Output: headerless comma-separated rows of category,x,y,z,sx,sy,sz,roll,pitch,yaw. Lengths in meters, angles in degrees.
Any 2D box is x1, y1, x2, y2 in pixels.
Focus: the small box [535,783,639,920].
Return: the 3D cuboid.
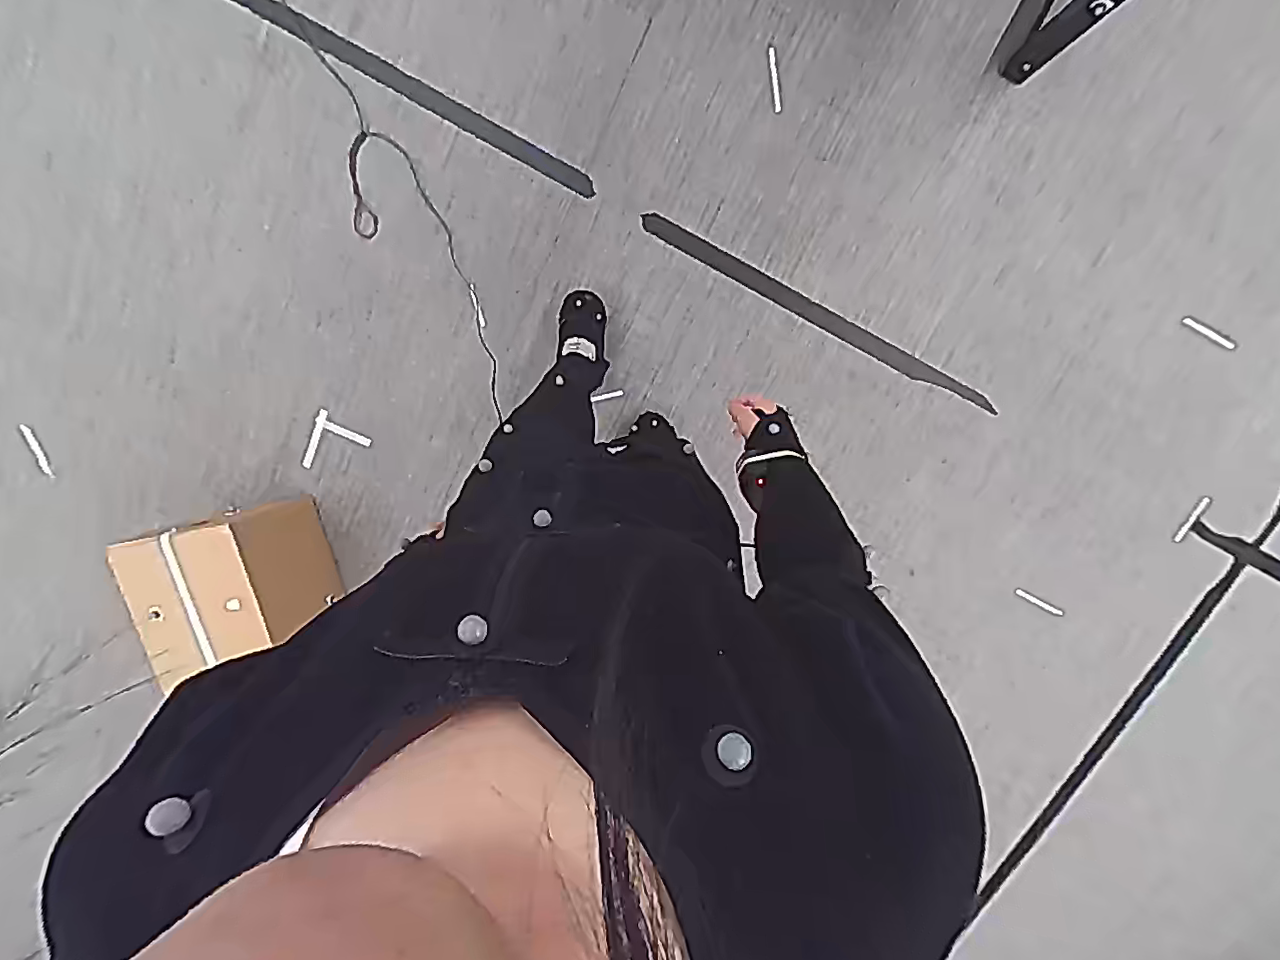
small box,-0.110,0.807,1.197,0.168,0.176,0.179,-21,100,7
